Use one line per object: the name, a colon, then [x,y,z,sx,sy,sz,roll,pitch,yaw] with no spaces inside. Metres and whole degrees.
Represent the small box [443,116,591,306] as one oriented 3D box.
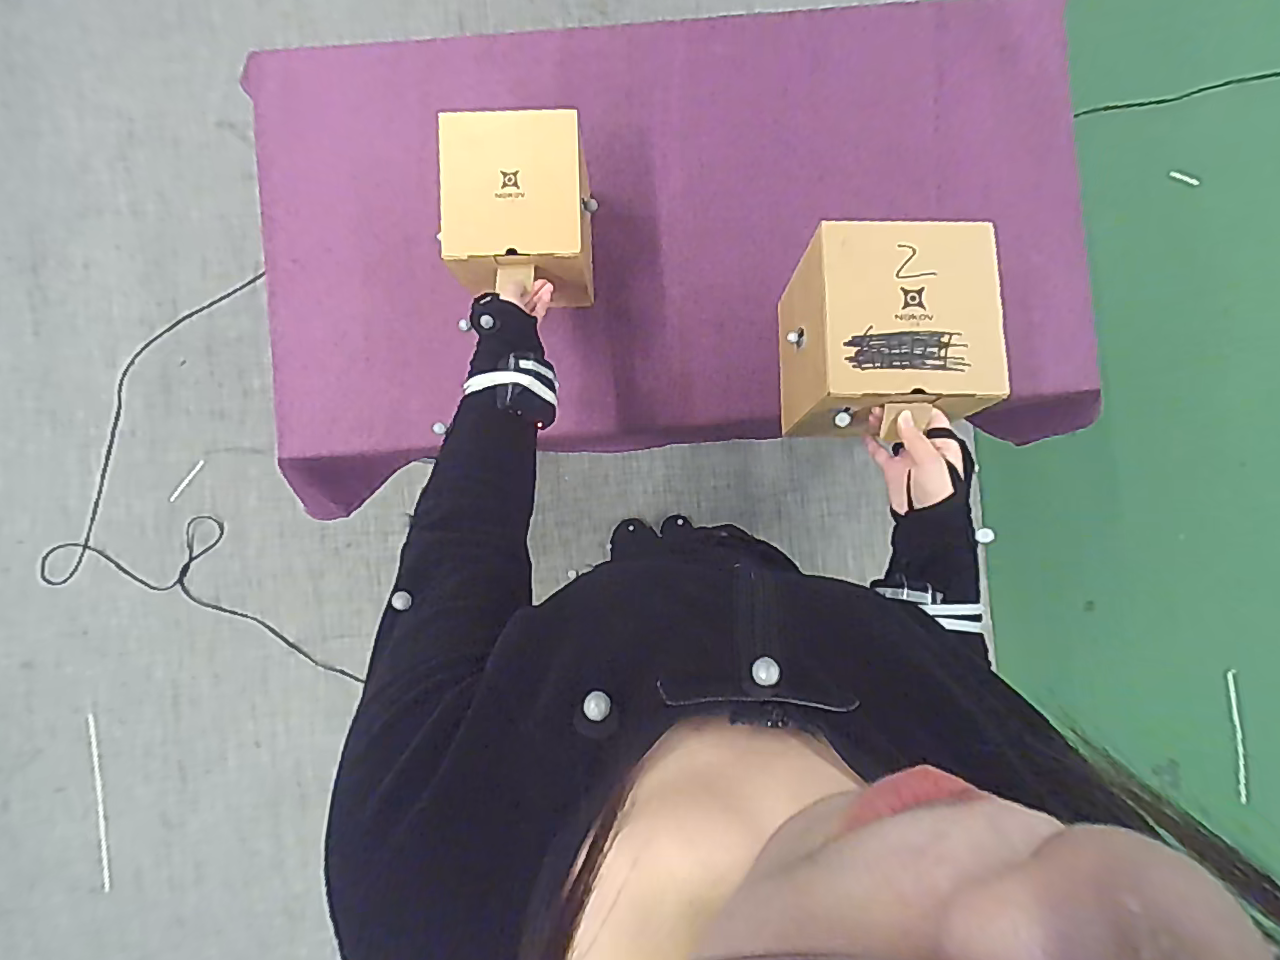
small box: [-0.156,-0.349,0.729,0.168,0.176,0.179,-2,89,0]
